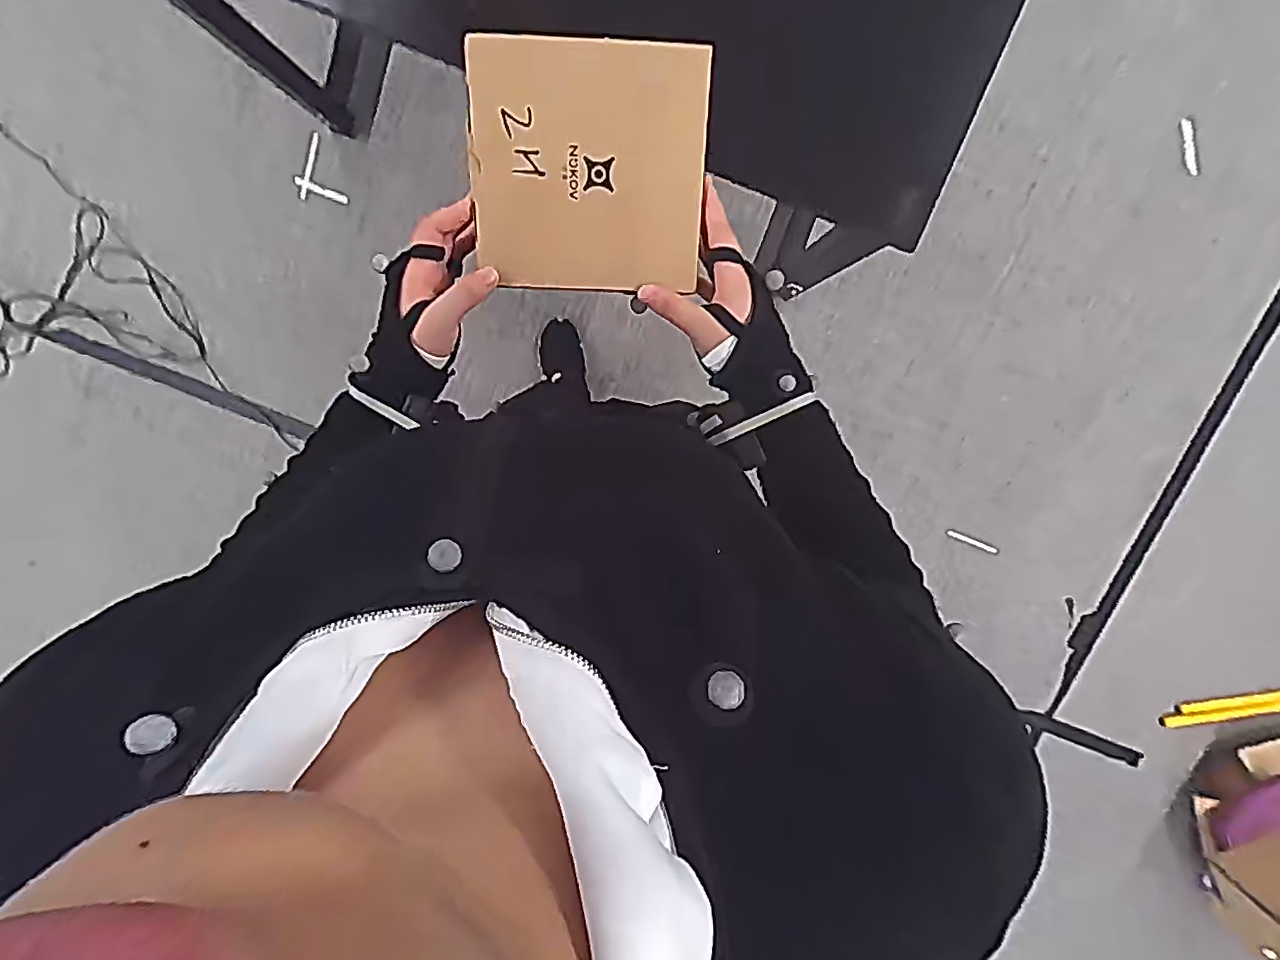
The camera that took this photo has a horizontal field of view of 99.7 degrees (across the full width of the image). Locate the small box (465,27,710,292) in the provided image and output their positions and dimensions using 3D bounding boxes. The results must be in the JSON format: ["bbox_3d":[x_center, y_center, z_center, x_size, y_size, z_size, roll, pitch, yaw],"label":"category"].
[{"bbox_3d":[-0.042,-0.259,0.479,0.179,0.176,0.168,3,108,-1],"label":"small box"}]
